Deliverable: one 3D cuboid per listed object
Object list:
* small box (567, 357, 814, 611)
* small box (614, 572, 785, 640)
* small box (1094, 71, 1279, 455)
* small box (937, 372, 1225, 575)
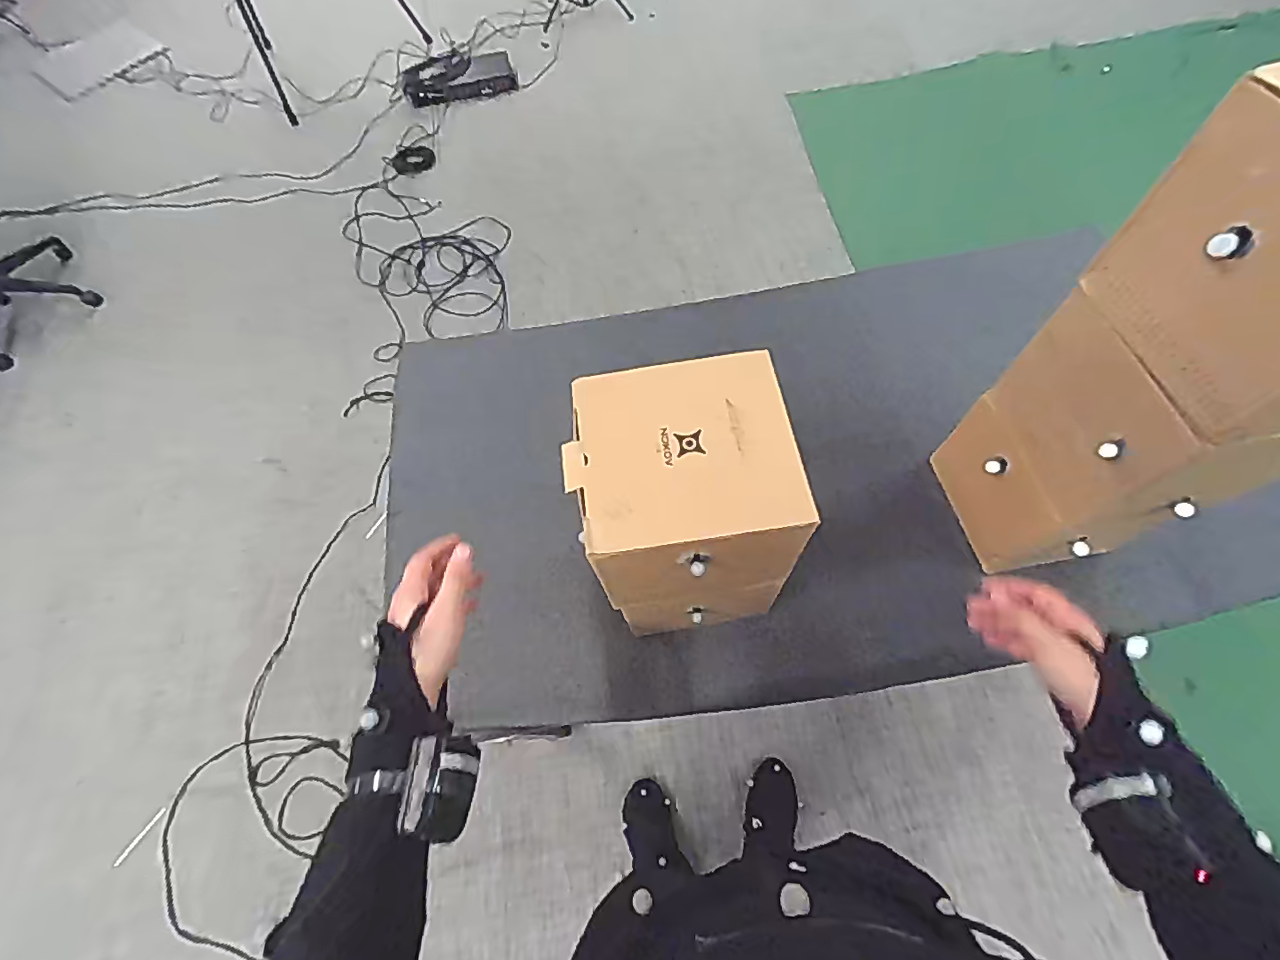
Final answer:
[{"bbox_3d":[0.039,0.015,0.498,0.179,0.176,0.168,-9,64,0],"label":"small box"},{"bbox_3d":[0.056,0.084,0.645,0.179,0.176,0.168,-10,63,1],"label":"small box"},{"bbox_3d":[0.462,-0.143,0.350,0.168,0.176,0.179,-14,62,-1],"label":"small box"},{"bbox_3d":[0.494,0.004,0.642,0.168,0.176,0.179,-11,62,0],"label":"small box"}]
